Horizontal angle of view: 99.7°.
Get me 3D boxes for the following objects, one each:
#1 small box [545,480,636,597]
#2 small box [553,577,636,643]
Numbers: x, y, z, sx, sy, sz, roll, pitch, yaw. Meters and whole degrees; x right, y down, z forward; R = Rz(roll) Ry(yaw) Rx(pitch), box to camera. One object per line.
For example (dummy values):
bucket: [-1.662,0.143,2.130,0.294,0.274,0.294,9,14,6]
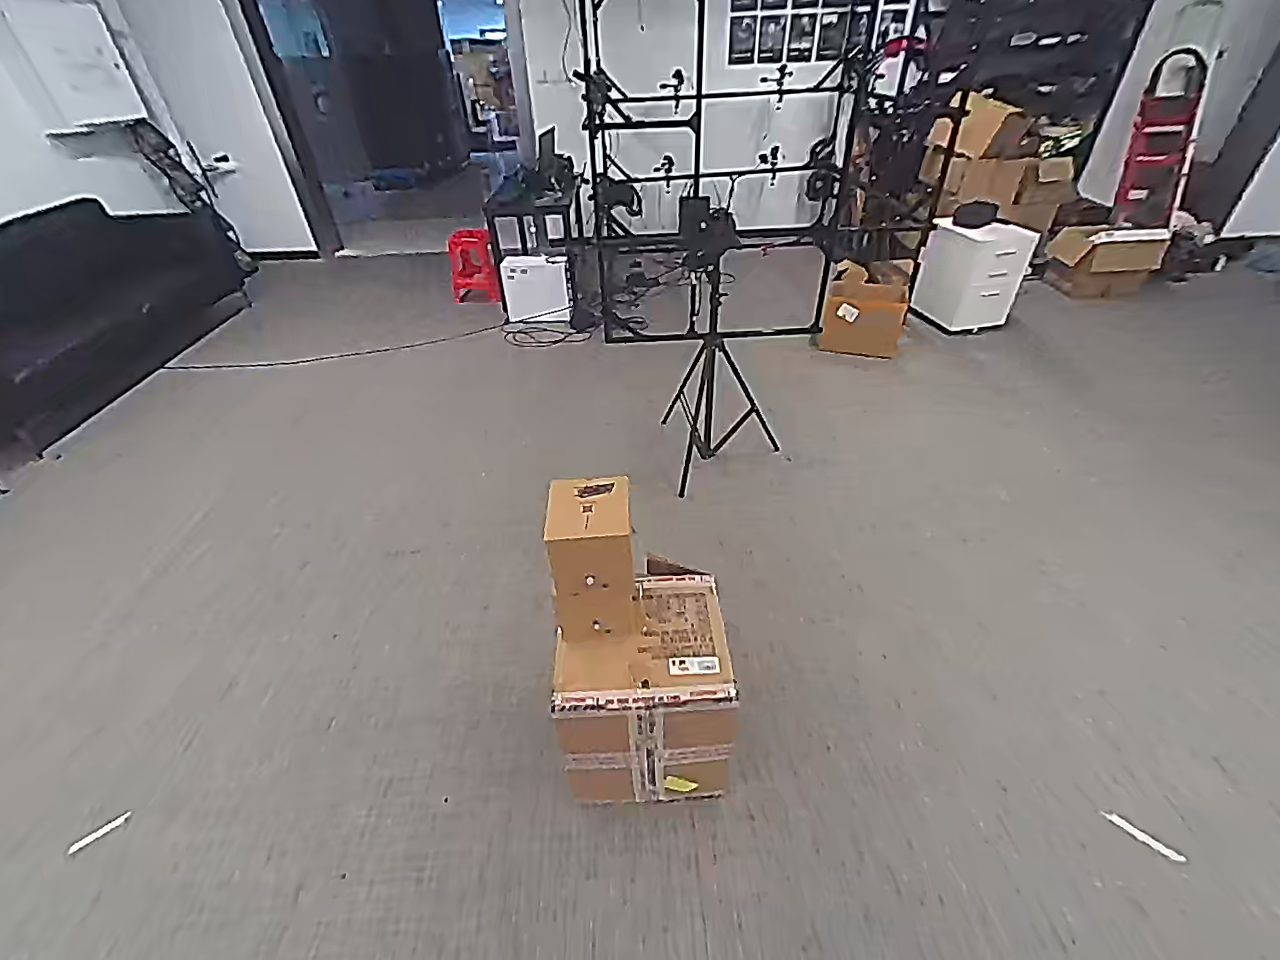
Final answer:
small box: [-0.096,0.122,1.131,0.168,0.176,0.179,-4,41,1]
small box: [-0.102,0.247,1.239,0.168,0.176,0.179,-7,40,-2]
